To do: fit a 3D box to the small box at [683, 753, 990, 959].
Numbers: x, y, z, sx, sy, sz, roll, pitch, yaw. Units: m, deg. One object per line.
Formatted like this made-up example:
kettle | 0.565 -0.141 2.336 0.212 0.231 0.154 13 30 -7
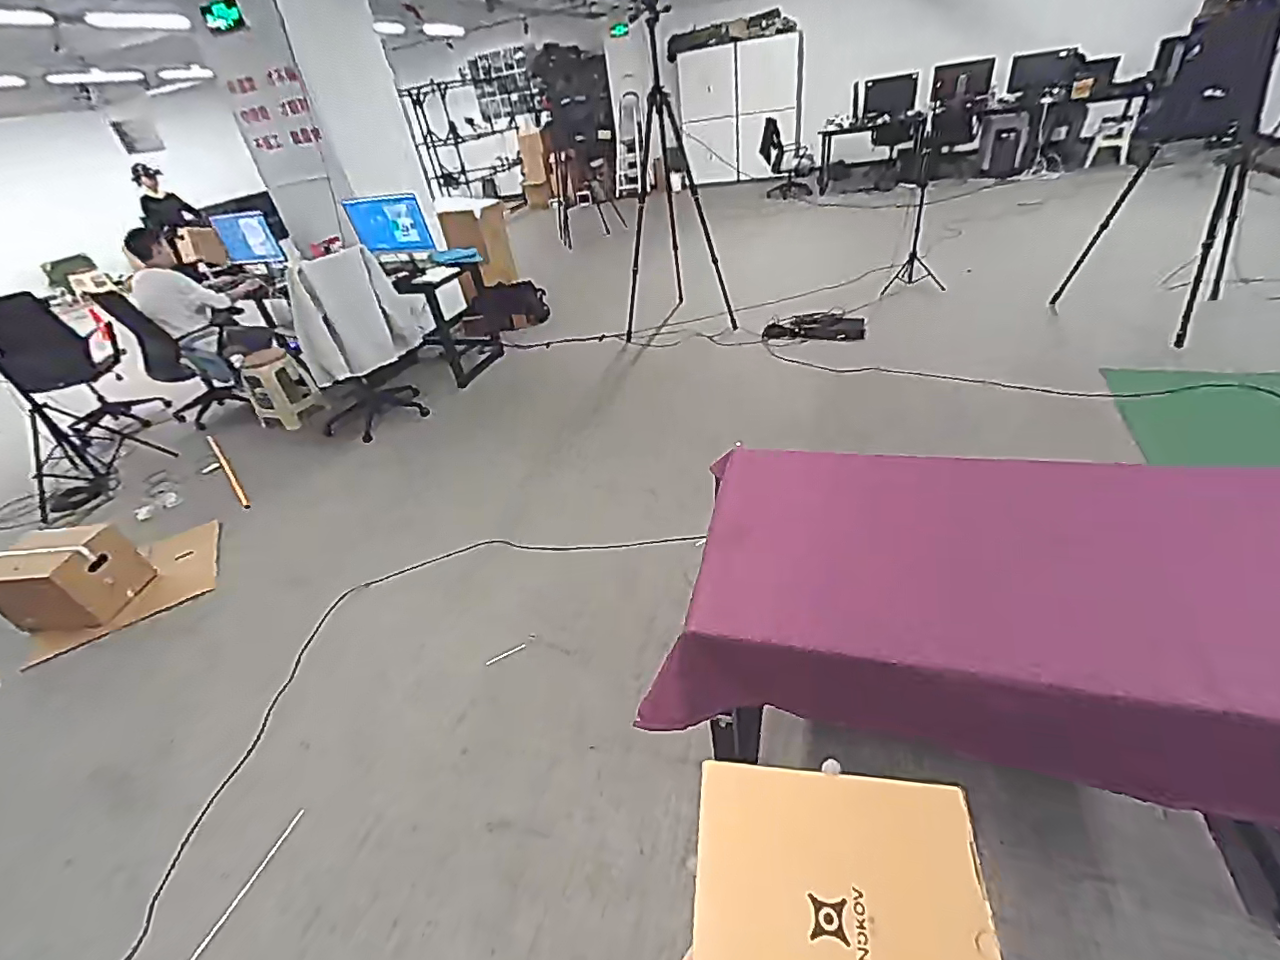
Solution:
small box | 0.131 0.317 0.391 0.179 0.176 0.168 -1 49 13
